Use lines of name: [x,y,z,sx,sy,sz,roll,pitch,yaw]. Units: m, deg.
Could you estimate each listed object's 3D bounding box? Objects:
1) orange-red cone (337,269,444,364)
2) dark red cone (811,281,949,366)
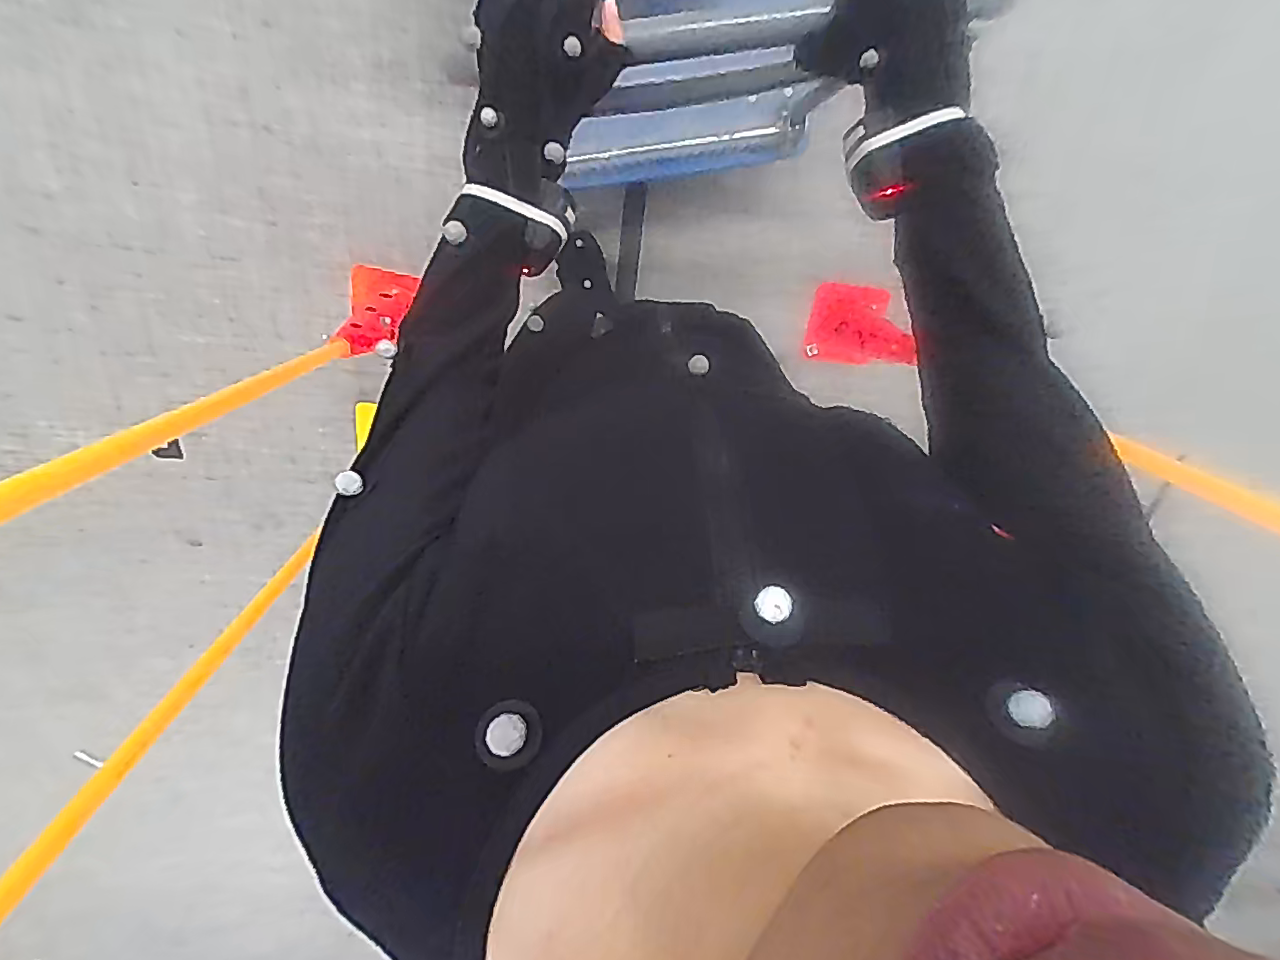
orange-red cone: [-0.560,-0.319,1.149,0.198,0.360,0.199,10,113,-12]
dark red cone: [0.570,-0.330,1.248,0.201,0.394,0.202,2,116,-10]
